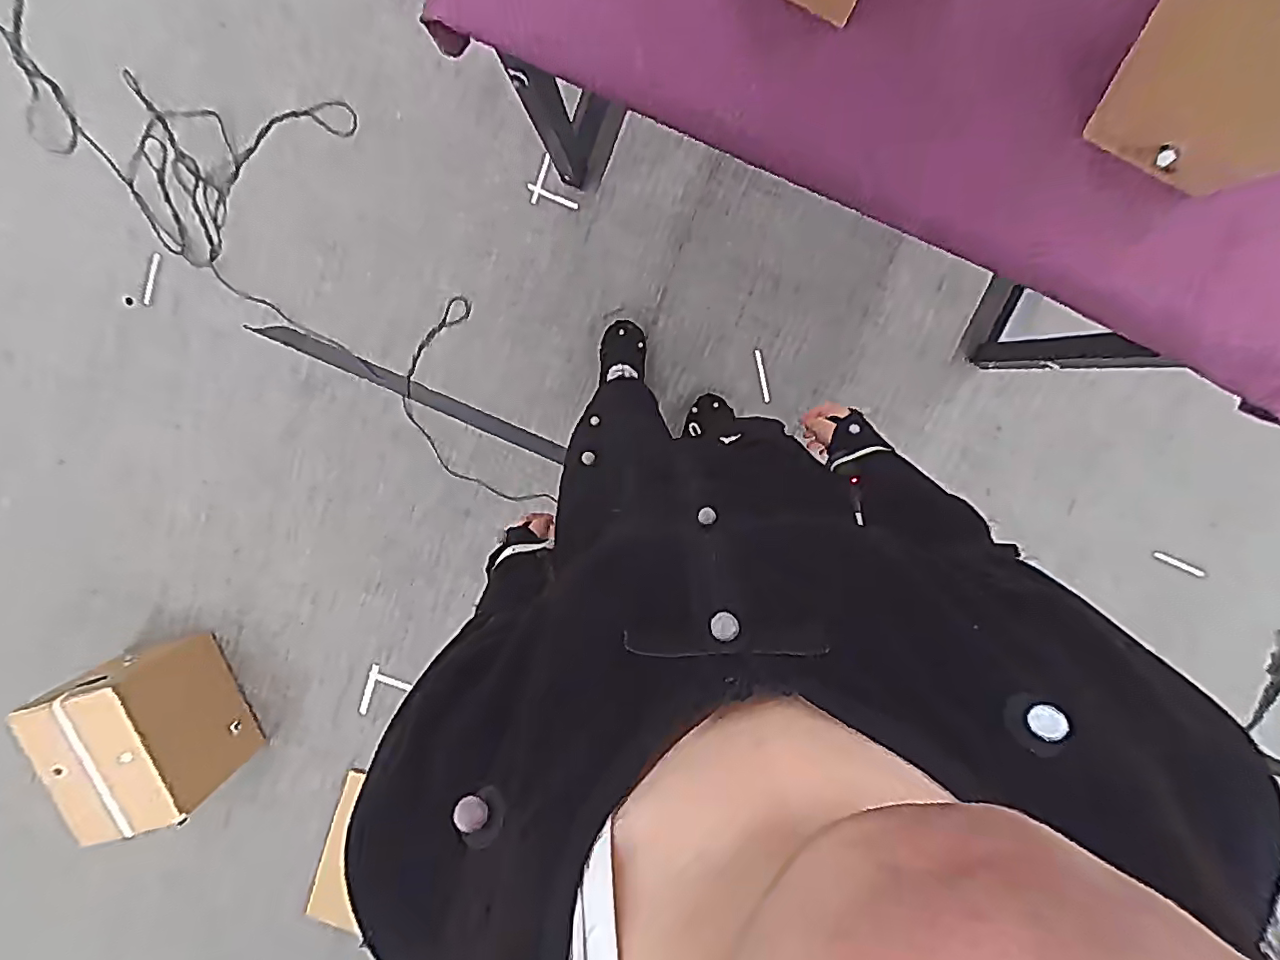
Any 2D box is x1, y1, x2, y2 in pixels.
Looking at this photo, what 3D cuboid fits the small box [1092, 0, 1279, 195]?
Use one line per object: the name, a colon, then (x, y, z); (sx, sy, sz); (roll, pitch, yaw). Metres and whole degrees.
small box: (0.635, -0.435, 0.557); (0.168, 0.176, 0.179); (26, 101, -3)
